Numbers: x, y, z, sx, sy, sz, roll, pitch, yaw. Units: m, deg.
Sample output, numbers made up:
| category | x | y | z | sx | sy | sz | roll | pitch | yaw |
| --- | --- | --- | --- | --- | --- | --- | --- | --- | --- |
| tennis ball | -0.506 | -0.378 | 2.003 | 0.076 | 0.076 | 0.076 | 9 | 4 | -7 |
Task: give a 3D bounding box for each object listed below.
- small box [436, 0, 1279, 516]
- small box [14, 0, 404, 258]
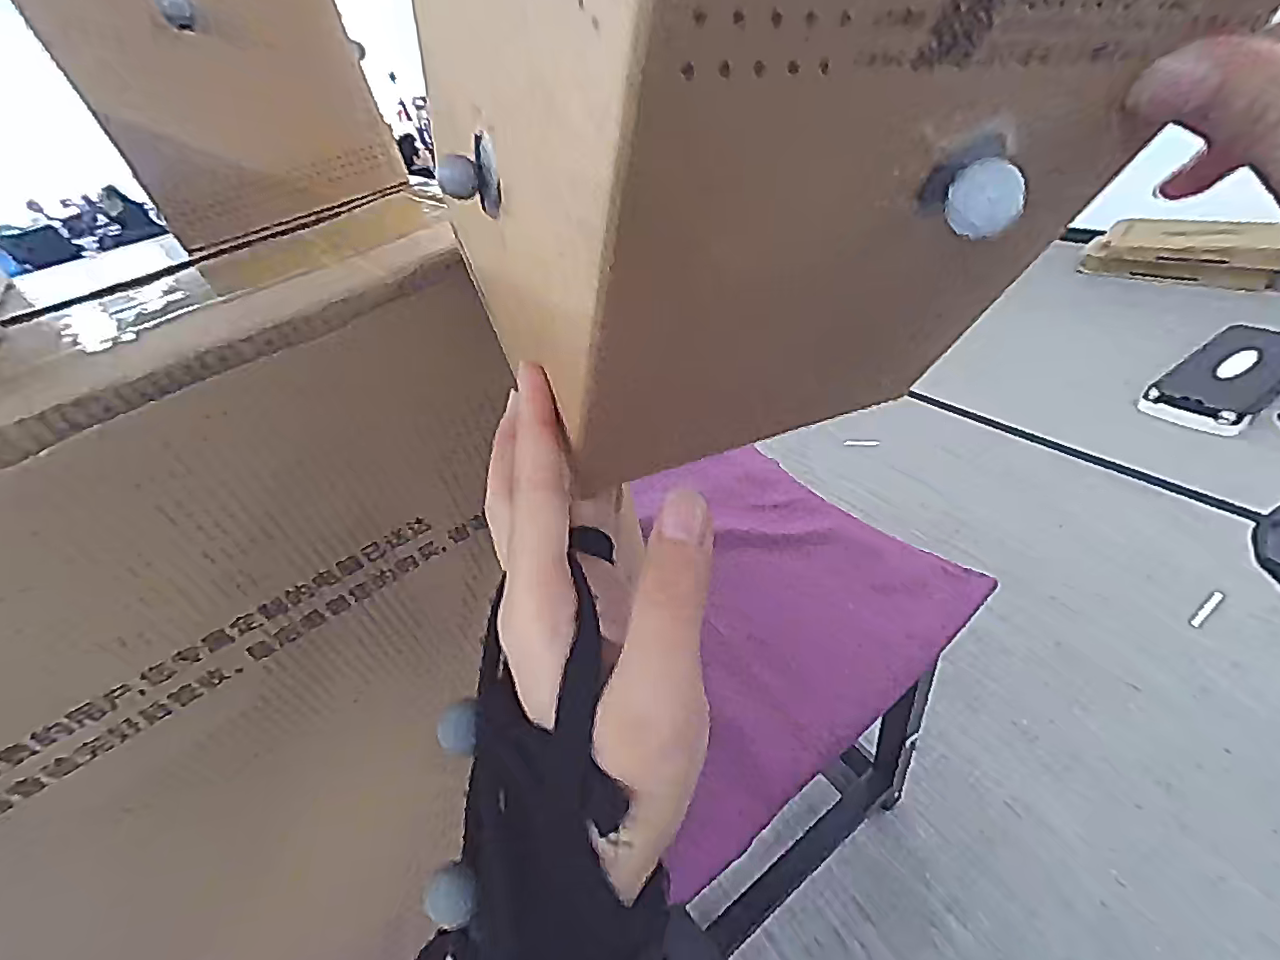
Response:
| category | x | y | z | sx | sy | sz | roll | pitch | yaw |
| --- | --- | --- | --- | --- | --- | --- | --- | --- | --- |
| small box | 0.034 | -0.118 | 0.186 | 0.168 | 0.176 | 0.179 | -17 | 66 | -20 |
| small box | -0.310 | -0.301 | 0.430 | 0.179 | 0.176 | 0.168 | -29 | 42 | -16 |
